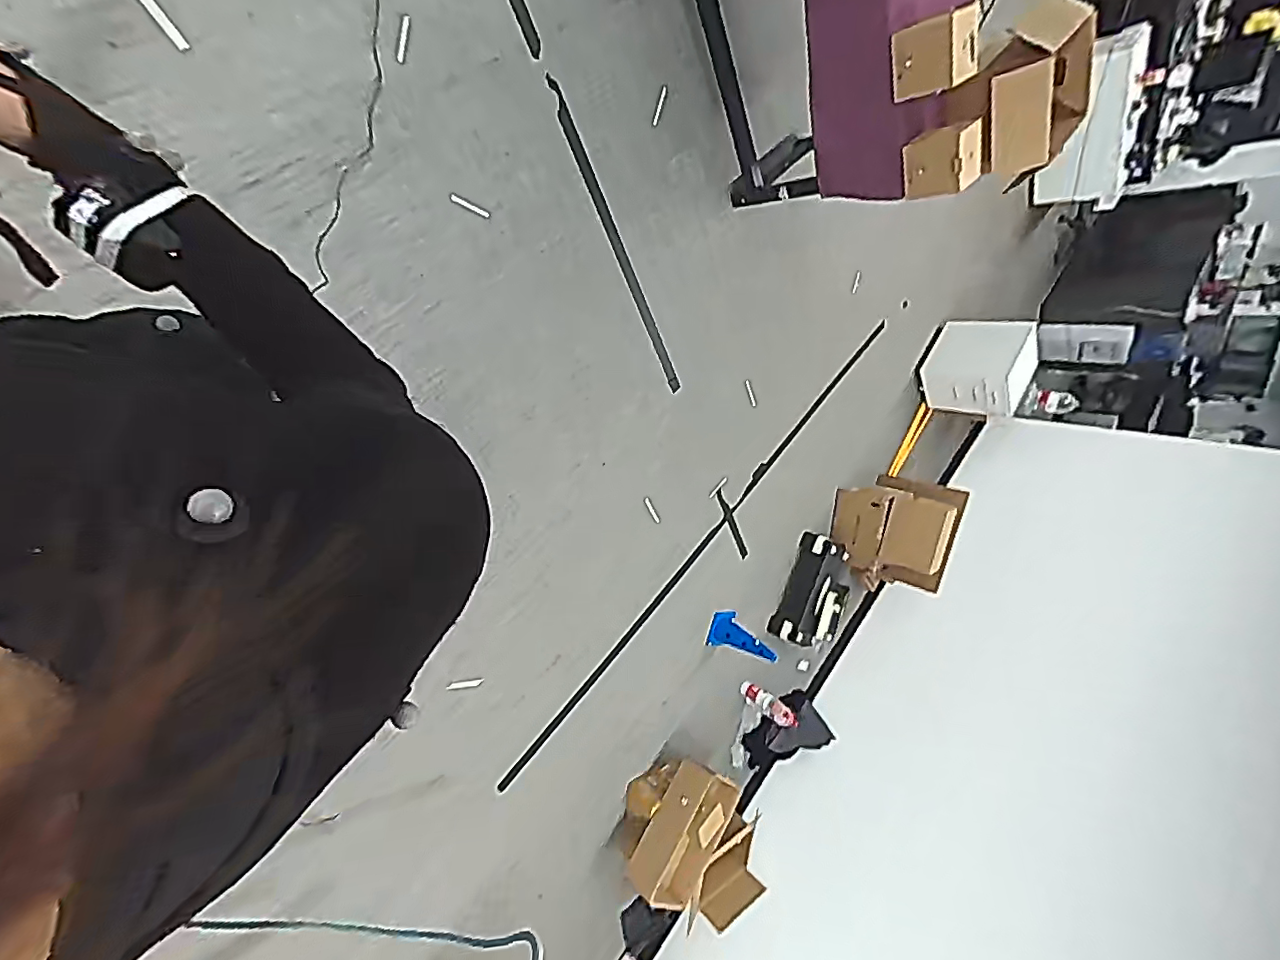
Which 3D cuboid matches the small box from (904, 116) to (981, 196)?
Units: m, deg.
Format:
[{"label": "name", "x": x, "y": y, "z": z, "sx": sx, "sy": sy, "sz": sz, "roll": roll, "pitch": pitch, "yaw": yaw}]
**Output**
[{"label": "small box", "x": 0.964, "y": -1.030, "z": 1.725, "sx": 0.179, "sy": 0.176, "sz": 0.168, "roll": -41, "pitch": 127, "yaw": -27}]
